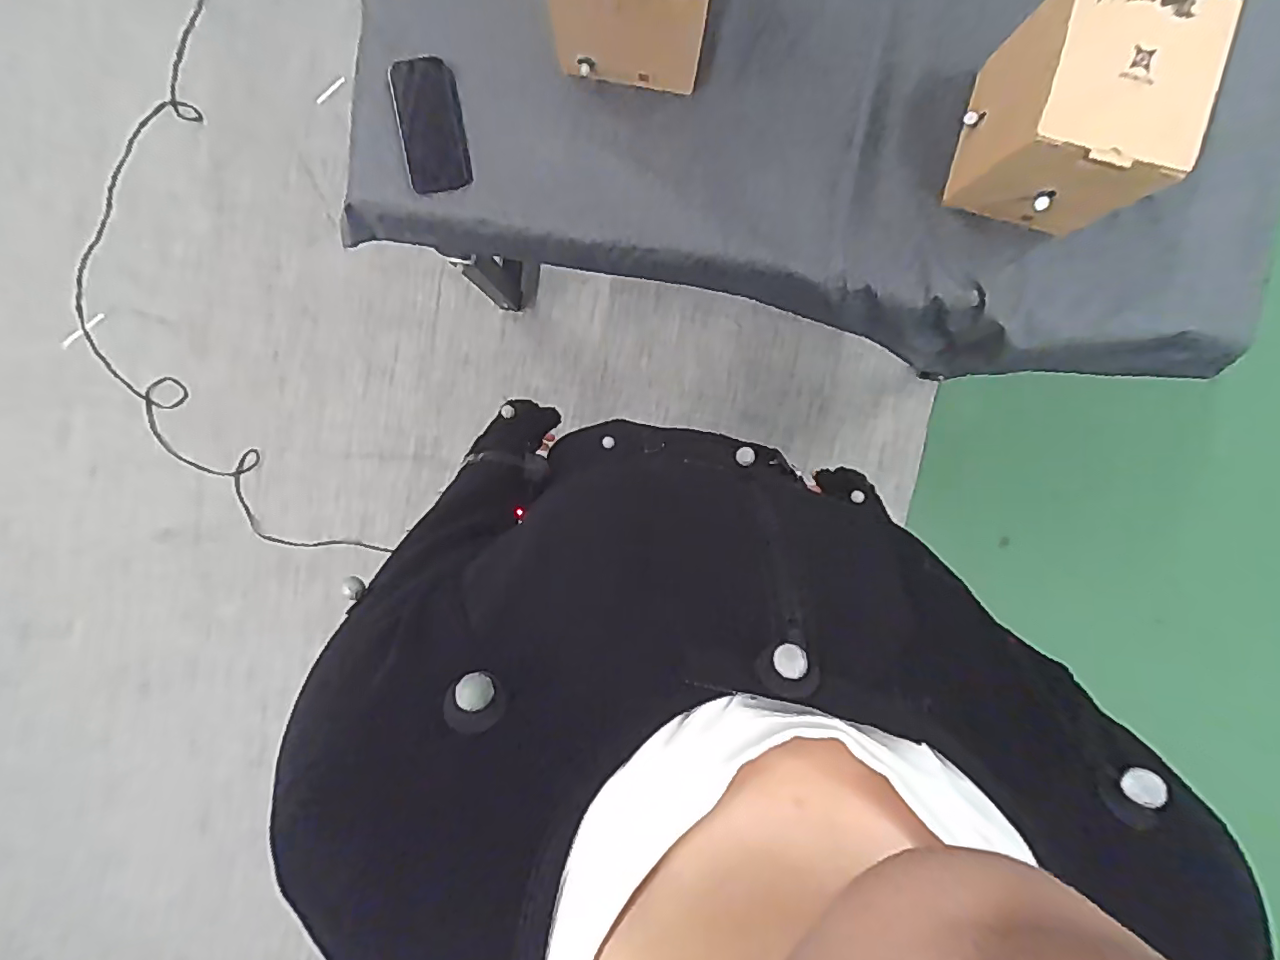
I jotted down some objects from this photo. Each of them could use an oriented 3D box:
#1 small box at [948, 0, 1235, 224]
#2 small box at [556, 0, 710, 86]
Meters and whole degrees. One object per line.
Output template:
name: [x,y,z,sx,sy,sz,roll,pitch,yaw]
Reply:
small box: [0.494,-0.423,0.623,0.168,0.176,0.179,13,96,-2]
small box: [0.002,-0.581,0.595,0.168,0.176,0.179,8,94,-2]
